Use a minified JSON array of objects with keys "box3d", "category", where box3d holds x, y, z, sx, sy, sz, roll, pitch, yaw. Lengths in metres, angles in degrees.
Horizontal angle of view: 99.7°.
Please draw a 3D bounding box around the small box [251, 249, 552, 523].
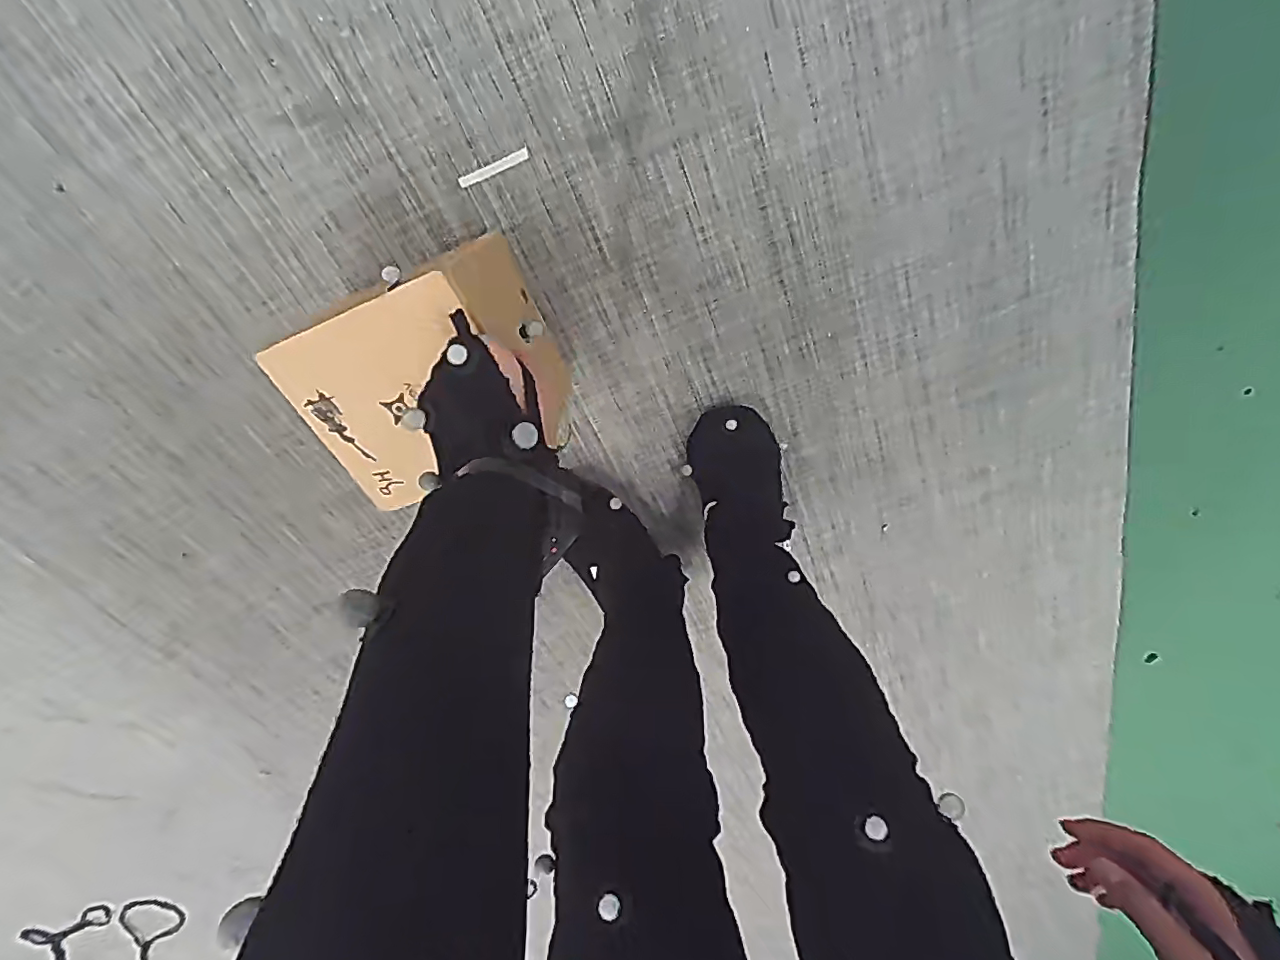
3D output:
[{"box3d":[-0.194,-0.094,0.506,0.179,0.176,0.168,-19,122,12],"category":"small box"}]
